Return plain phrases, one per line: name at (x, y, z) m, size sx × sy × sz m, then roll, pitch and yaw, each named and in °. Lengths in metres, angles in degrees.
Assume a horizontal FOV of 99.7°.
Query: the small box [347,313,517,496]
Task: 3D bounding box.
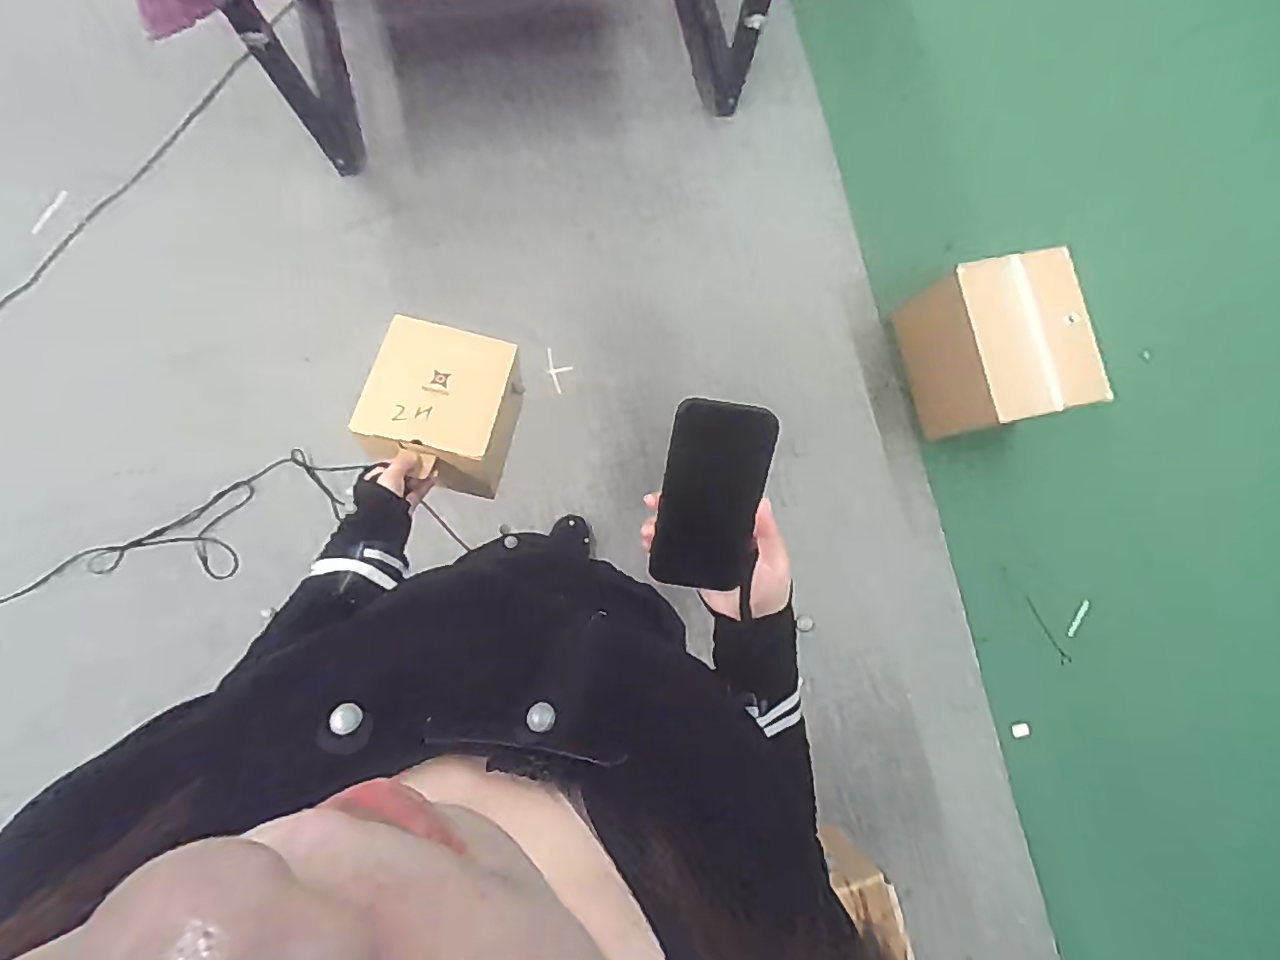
small box at (-0.274, -0.097, 0.762) m, size 0.168 × 0.176 × 0.179 m, roll 13°, pitch 69°, yaw -5°
